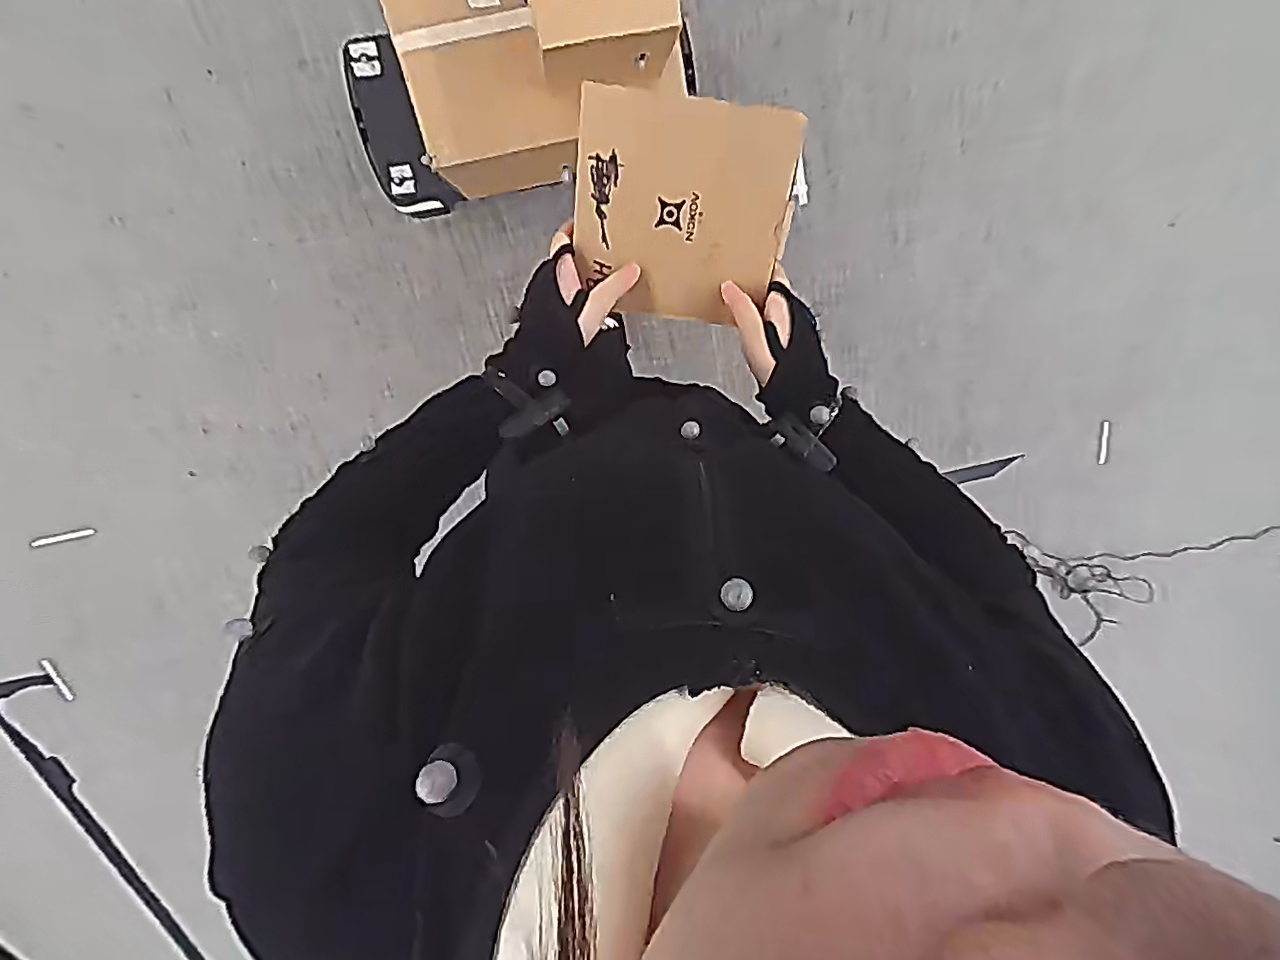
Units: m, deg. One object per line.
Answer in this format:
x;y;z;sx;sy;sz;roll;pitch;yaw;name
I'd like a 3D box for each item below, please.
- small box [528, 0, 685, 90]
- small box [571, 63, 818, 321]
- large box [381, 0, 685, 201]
-0.053;-0.623;0.680;0.179;0.176;0.168;-12;110;-3;small box
0.037;-0.257;0.504;0.179;0.176;0.168;7;116;-3;small box
-0.162;-0.696;0.903;0.408;0.320;0.320;-14;109;-2;large box
